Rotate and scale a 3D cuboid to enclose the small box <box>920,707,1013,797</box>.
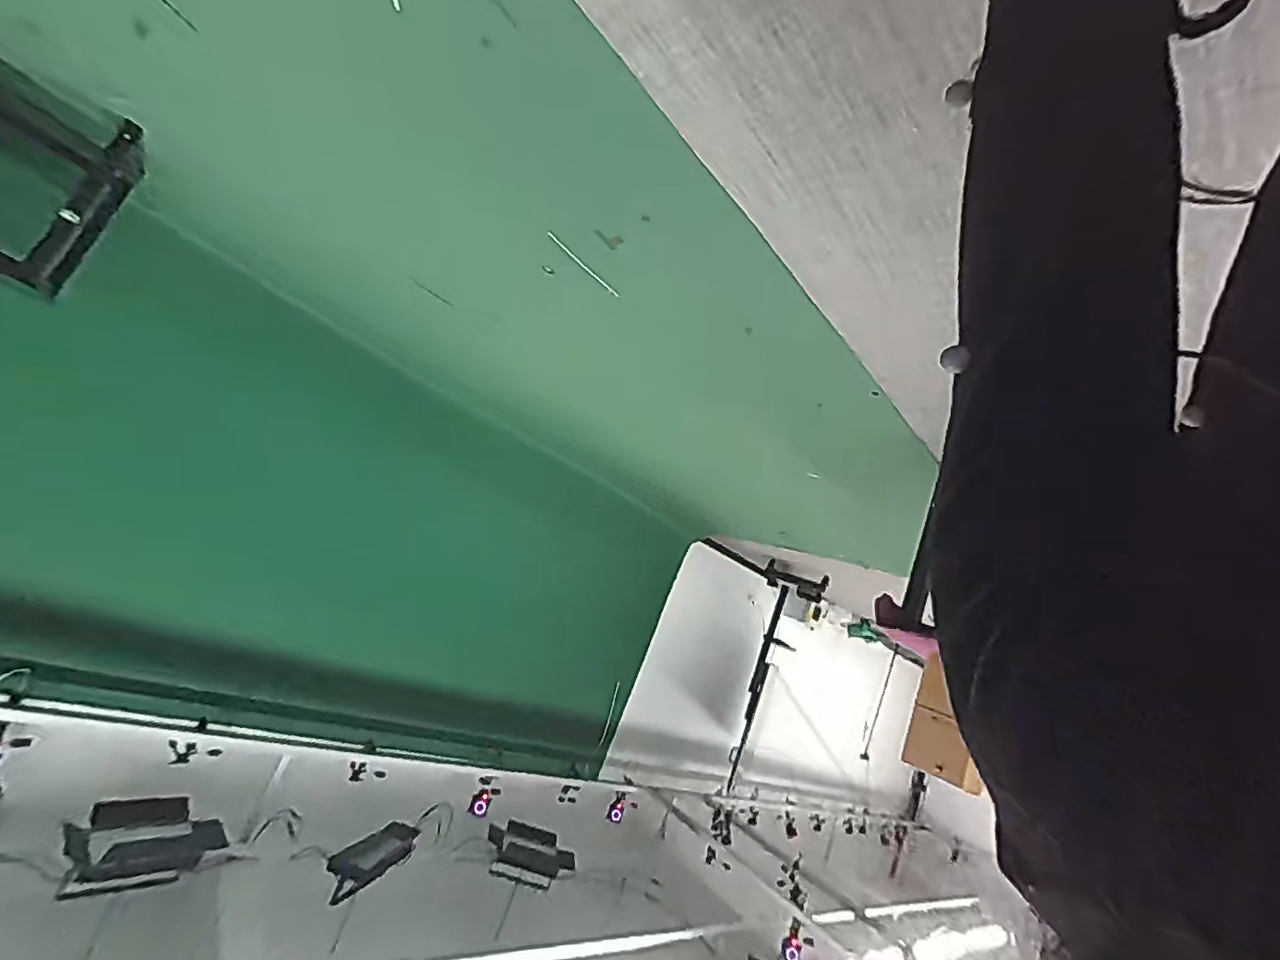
[{"bbox_3d":[0.927,0.764,1.528,0.179,0.176,0.168,31,164,-35],"label":"small box"}]
